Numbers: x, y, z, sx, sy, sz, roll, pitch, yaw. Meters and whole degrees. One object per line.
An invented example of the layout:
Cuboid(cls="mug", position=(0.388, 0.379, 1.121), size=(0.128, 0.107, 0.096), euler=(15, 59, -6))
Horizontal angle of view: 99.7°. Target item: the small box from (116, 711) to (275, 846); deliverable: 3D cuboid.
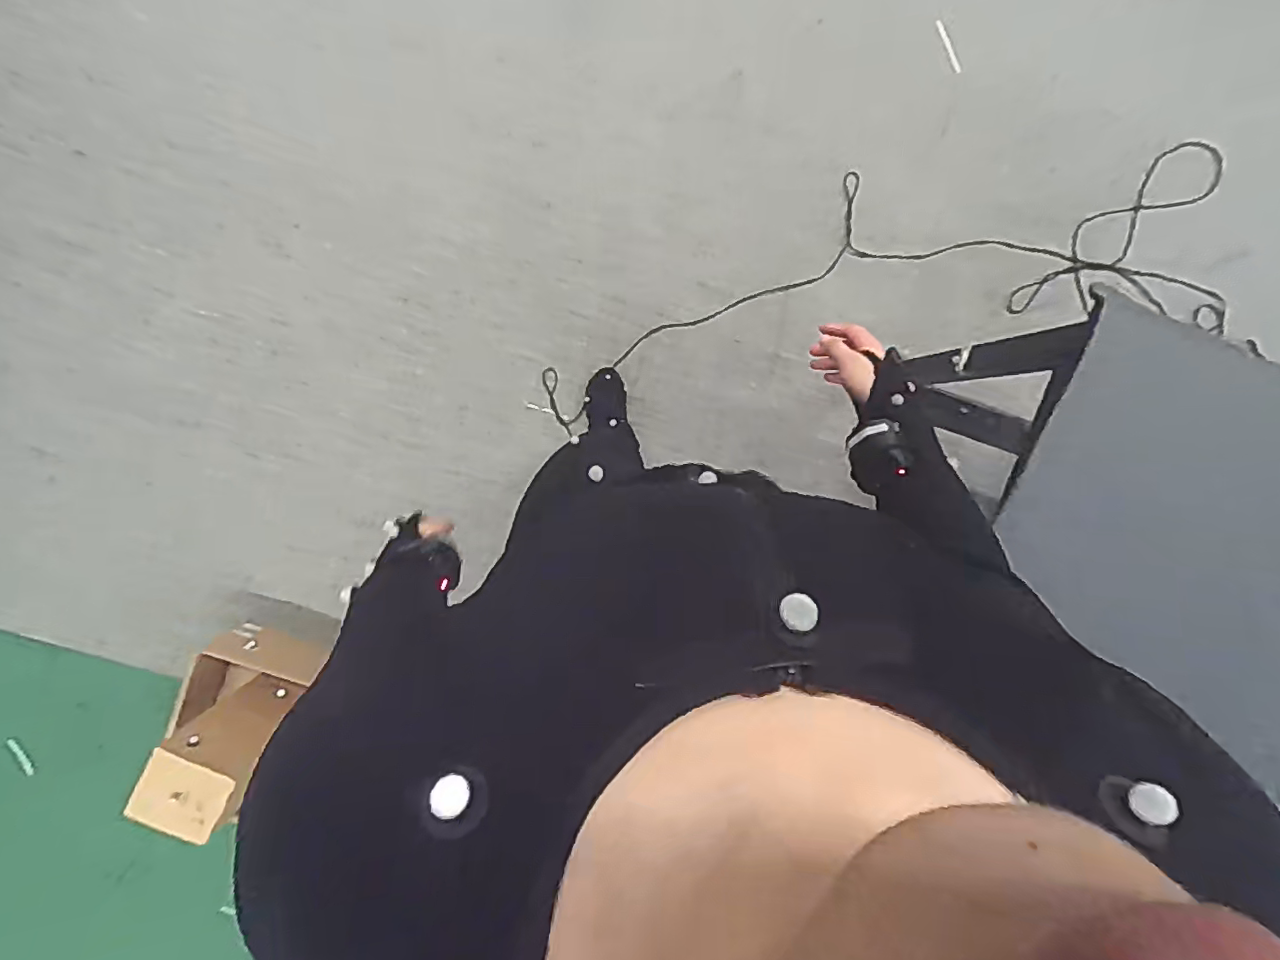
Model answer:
Cuboid(cls="small box", position=(-0.956, 0.638, 1.179), size=(0.179, 0.176, 0.168), euler=(27, 93, -7))

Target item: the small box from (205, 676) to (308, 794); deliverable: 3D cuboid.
Cuboid(cls="small box", position=(-0.970, 0.625, 1.343), size=(0.168, 0.176, 0.179), euler=(27, 92, -7))
